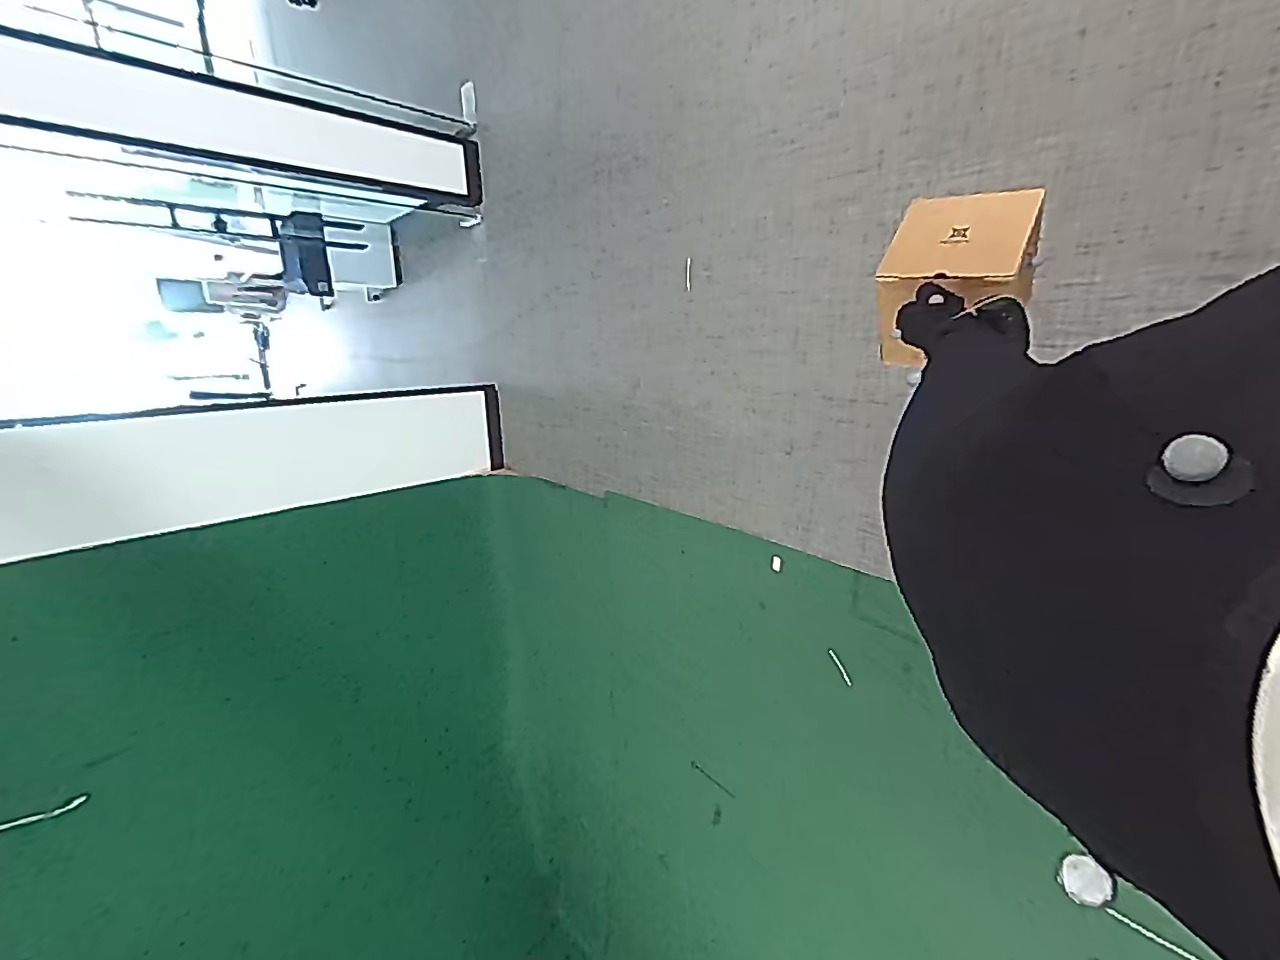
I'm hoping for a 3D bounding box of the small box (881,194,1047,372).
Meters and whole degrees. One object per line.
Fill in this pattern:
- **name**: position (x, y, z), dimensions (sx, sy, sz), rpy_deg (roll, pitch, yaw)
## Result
- **small box**: position (0.470, -0.285, 0.794), dimensions (0.168, 0.179, 0.176), rpy_deg (14, 152, 37)
